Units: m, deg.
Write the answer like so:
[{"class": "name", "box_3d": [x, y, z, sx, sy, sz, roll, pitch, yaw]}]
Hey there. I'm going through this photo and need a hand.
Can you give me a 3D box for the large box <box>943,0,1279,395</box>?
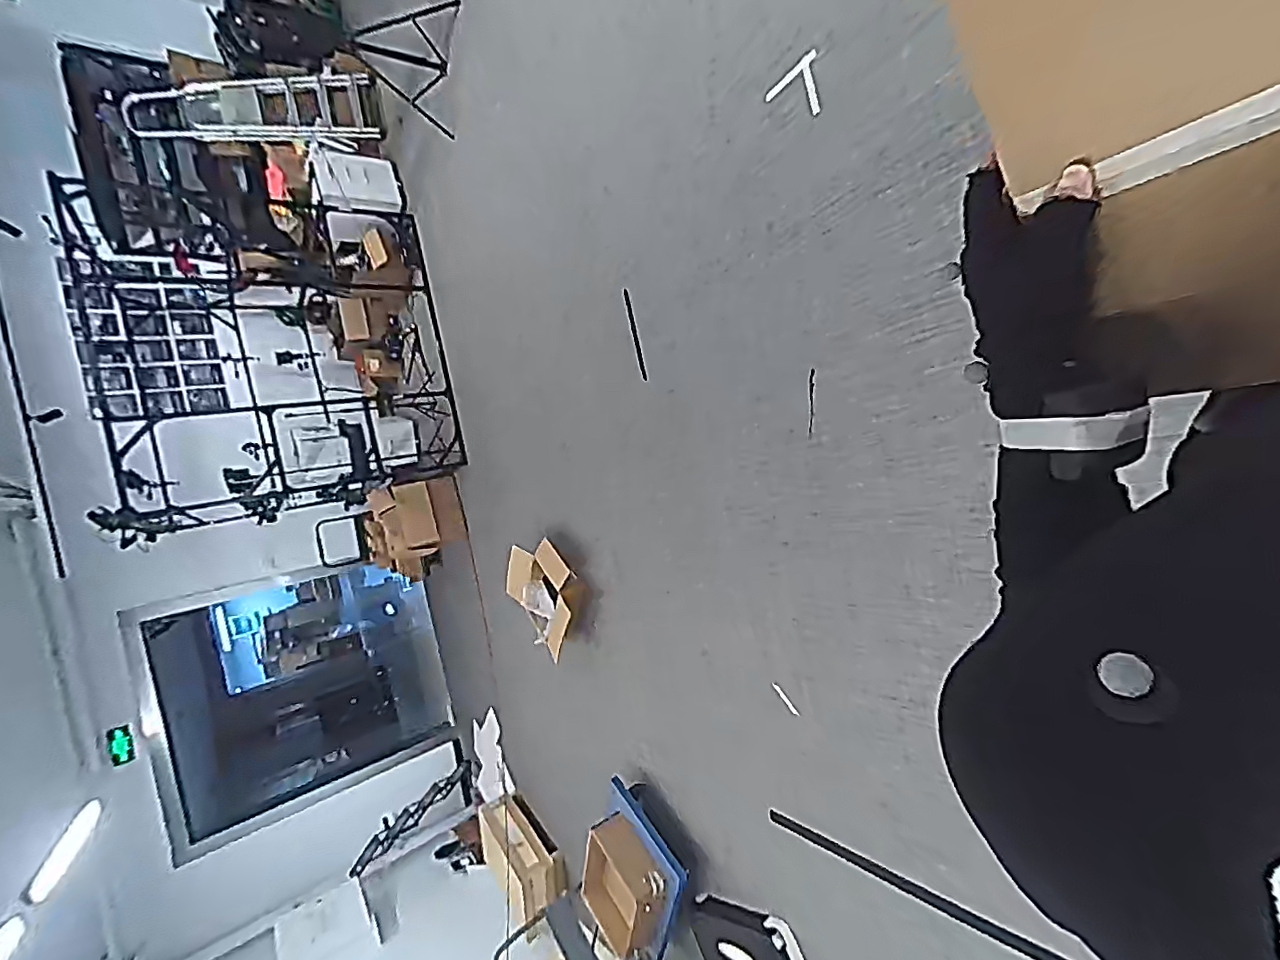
[{"class": "large box", "box_3d": [0.454, -0.285, 0.262, 0.320, 0.320, 0.408, 53, 152, -19]}]
